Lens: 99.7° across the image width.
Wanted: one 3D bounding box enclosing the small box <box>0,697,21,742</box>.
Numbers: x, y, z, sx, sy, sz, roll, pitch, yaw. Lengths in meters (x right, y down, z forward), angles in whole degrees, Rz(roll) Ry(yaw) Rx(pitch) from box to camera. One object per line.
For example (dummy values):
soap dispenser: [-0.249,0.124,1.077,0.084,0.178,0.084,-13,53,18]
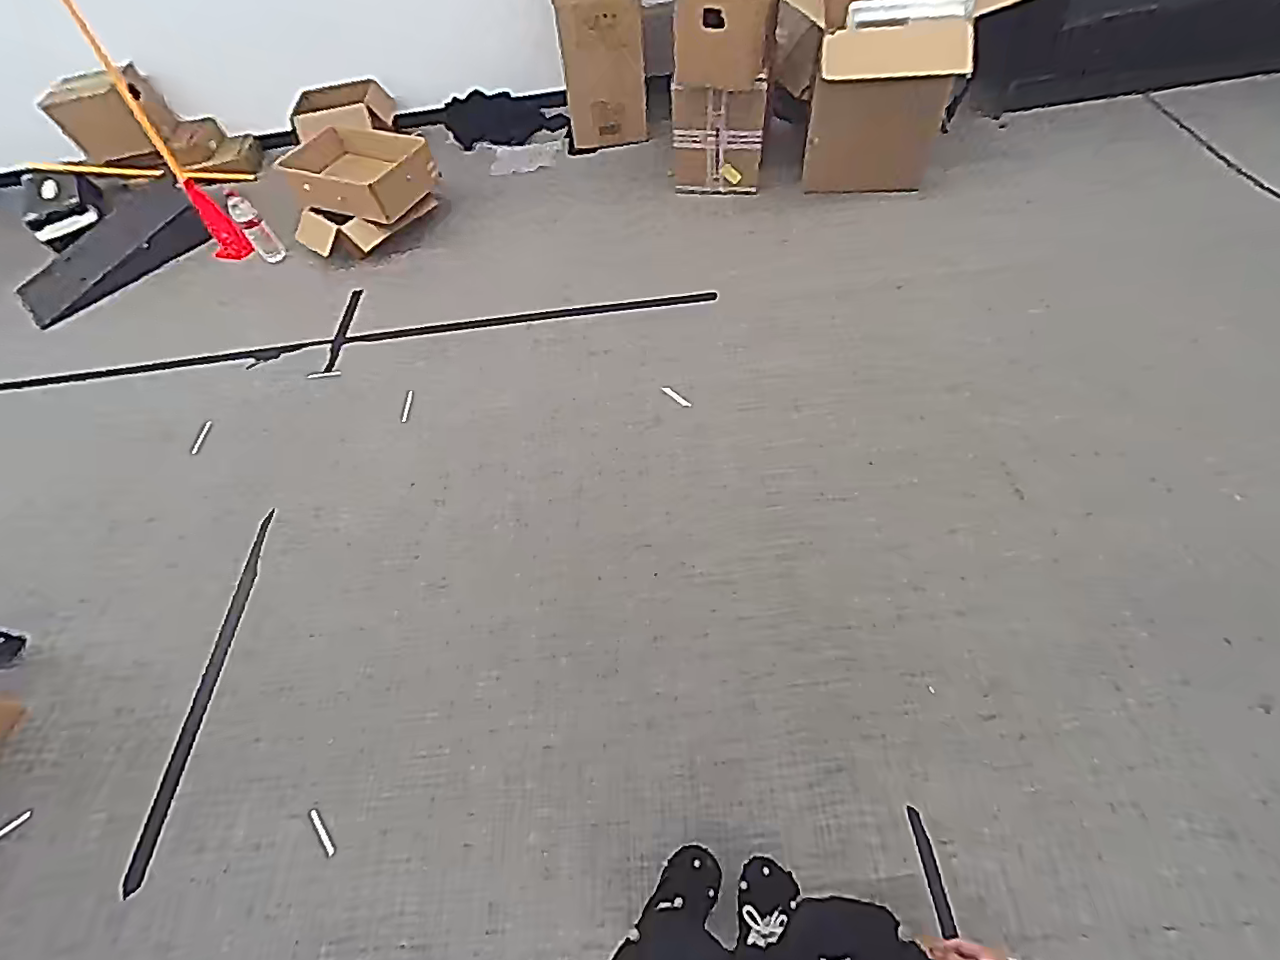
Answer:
small box: [-1.856,0.662,1.457,0.168,0.176,0.179,9,60,12]
